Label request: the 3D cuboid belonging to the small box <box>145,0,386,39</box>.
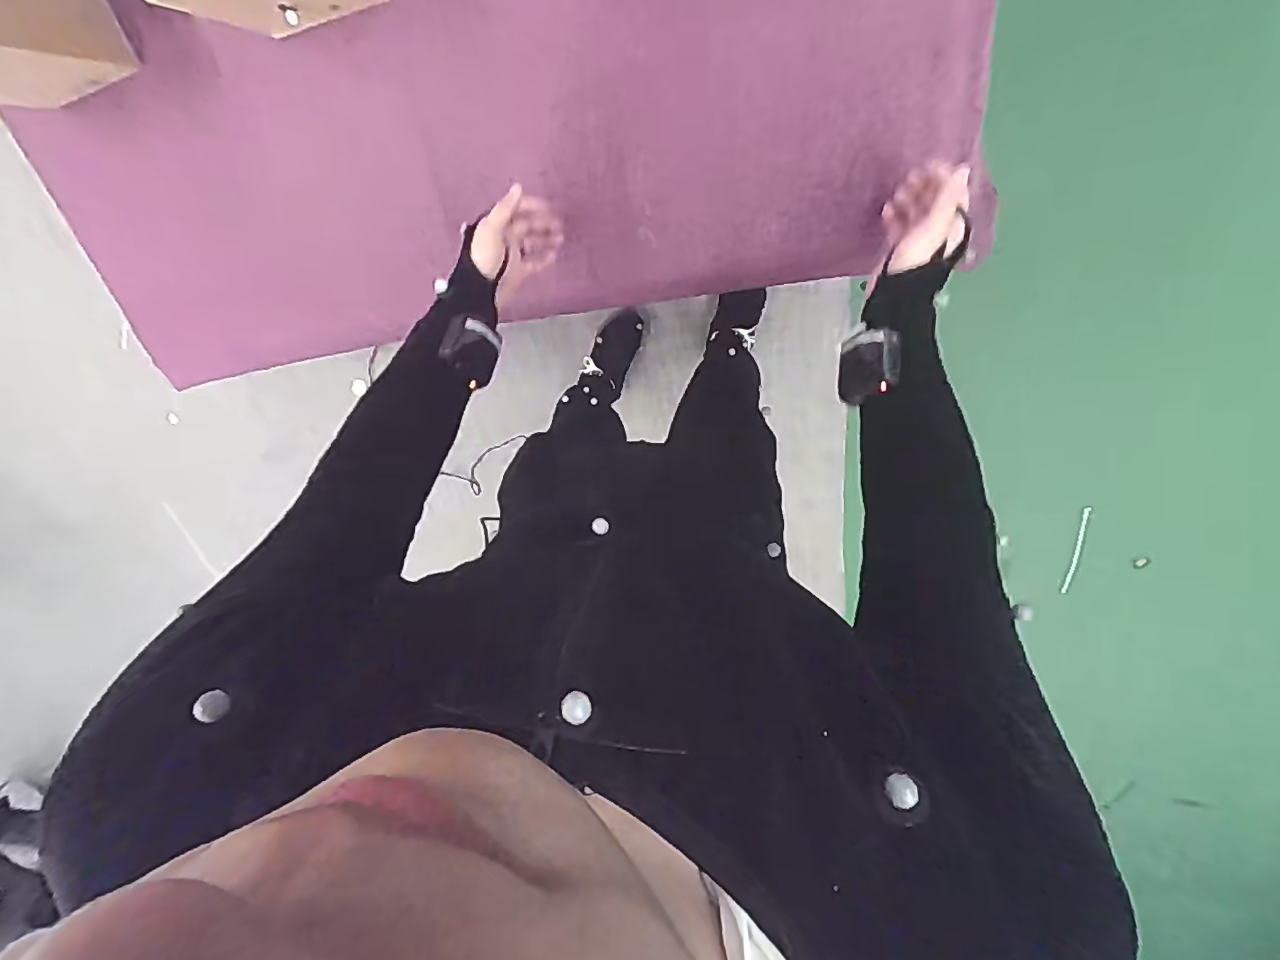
[{"bbox_3d":[-0.381,-0.558,0.510,0.168,0.176,0.179,-6,120,13],"label":"small box"}]
